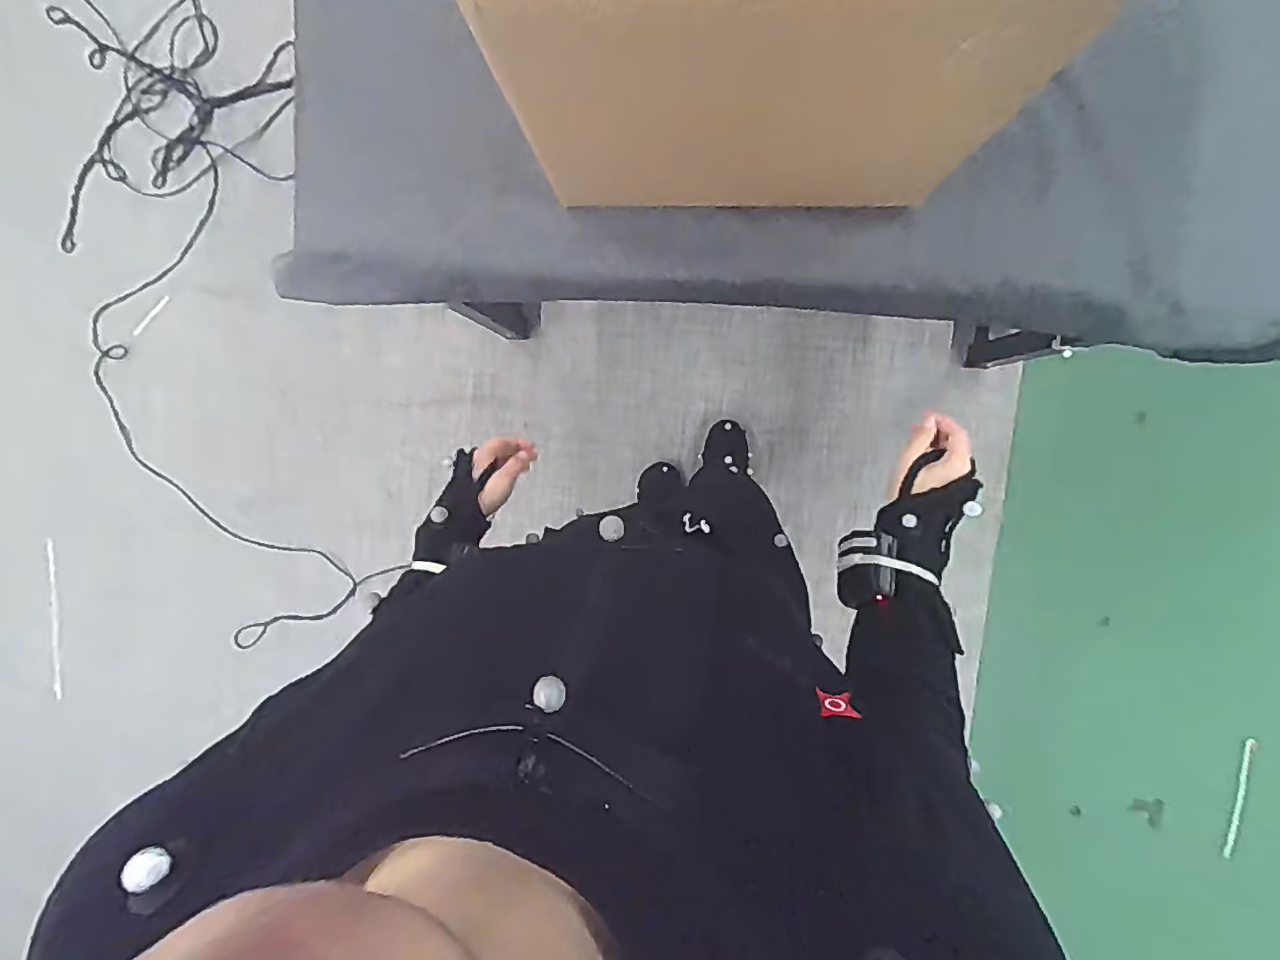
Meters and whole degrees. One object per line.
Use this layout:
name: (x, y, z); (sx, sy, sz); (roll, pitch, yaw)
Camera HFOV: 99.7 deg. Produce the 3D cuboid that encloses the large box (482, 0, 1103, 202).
large box: (0.100, -0.457, 0.451); (0.408, 0.320, 0.320); (1, 96, 2)
